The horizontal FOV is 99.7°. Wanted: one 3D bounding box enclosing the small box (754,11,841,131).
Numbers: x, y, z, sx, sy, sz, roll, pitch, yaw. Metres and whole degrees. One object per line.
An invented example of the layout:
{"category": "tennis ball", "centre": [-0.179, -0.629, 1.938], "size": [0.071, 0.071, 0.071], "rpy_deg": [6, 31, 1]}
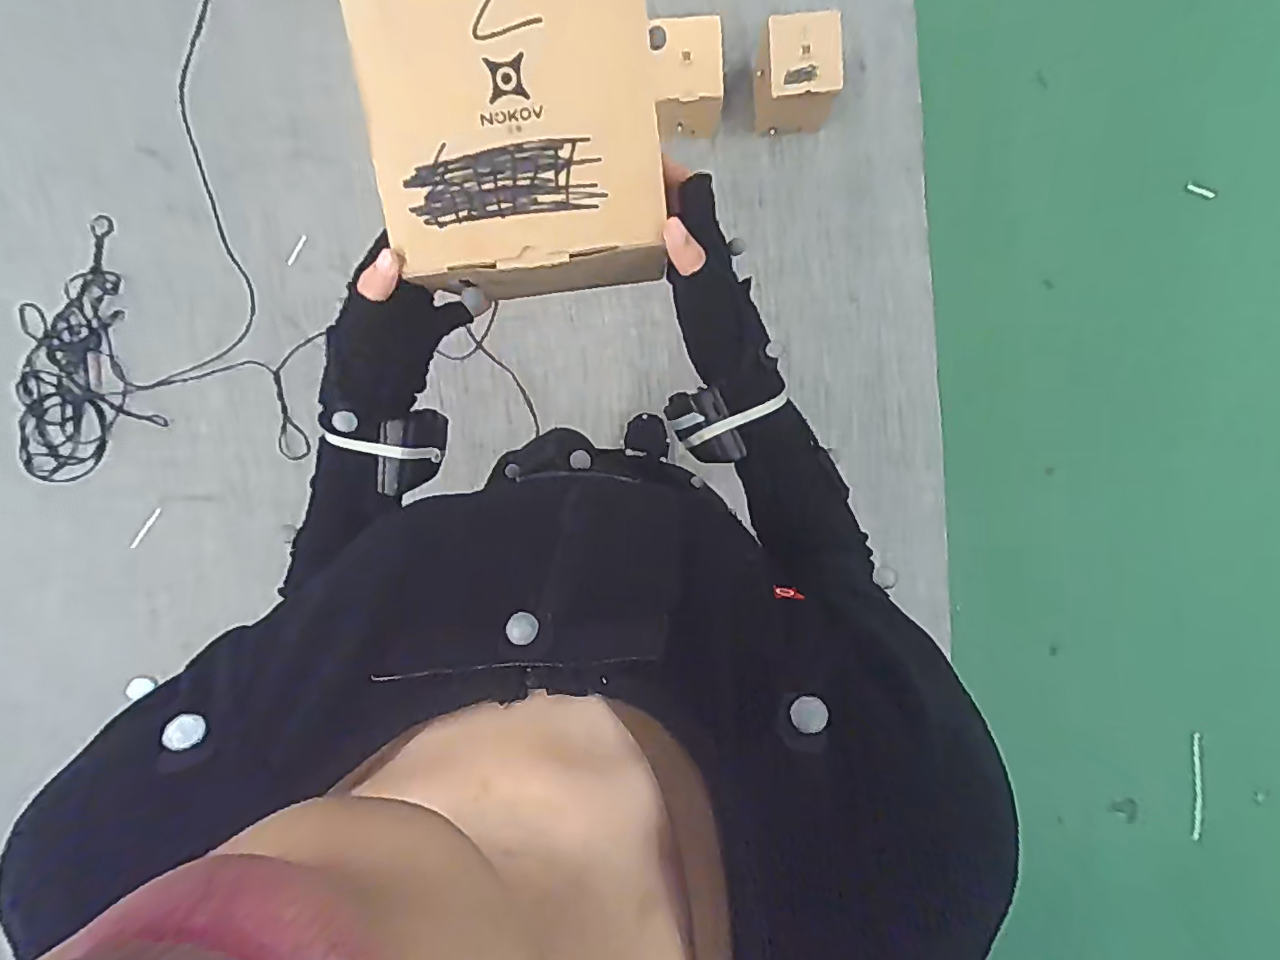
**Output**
{"category": "small box", "centre": [0.374, -0.971, 1.304], "size": [0.168, 0.176, 0.179], "rpy_deg": [-4, 94, 1]}

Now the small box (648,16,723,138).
{"category": "small box", "centre": [0.105, -0.966, 1.308], "size": [0.168, 0.176, 0.179], "rpy_deg": [-3, 95, 1]}
